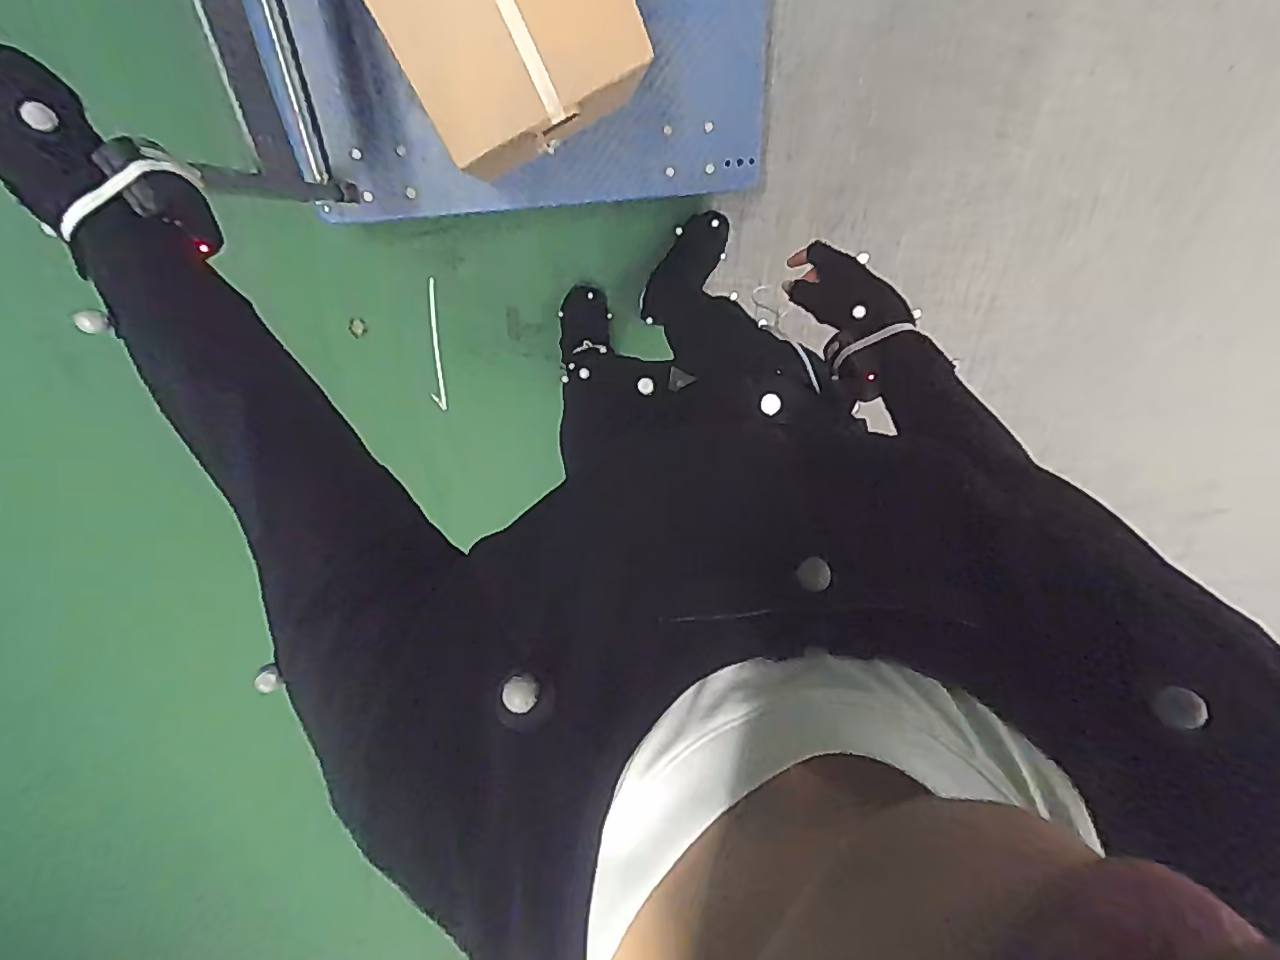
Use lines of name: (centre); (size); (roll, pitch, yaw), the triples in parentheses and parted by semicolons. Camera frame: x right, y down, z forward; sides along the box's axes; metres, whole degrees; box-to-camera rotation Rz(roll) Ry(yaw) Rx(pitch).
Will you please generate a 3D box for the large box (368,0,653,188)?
large box: (-0.215, -0.725, 0.818); (0.320, 0.320, 0.408); (-26, 114, 5)
